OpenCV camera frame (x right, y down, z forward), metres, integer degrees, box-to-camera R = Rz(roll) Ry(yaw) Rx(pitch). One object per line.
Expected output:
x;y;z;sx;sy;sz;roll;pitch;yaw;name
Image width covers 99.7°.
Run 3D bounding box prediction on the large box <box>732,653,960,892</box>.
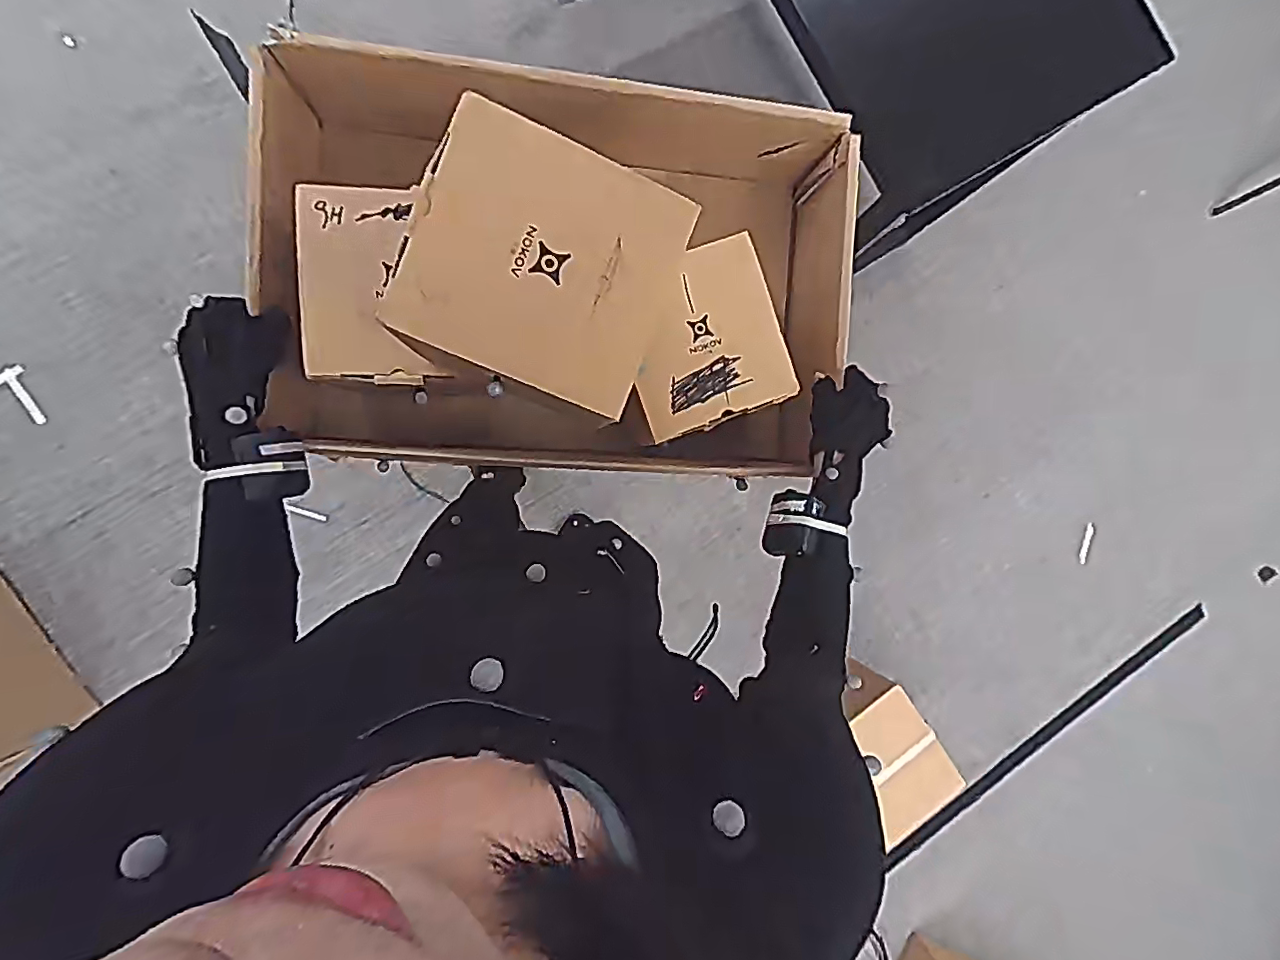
0.524;0.739;1.438;0.408;0.320;0.320;-35;92;-7;large box
